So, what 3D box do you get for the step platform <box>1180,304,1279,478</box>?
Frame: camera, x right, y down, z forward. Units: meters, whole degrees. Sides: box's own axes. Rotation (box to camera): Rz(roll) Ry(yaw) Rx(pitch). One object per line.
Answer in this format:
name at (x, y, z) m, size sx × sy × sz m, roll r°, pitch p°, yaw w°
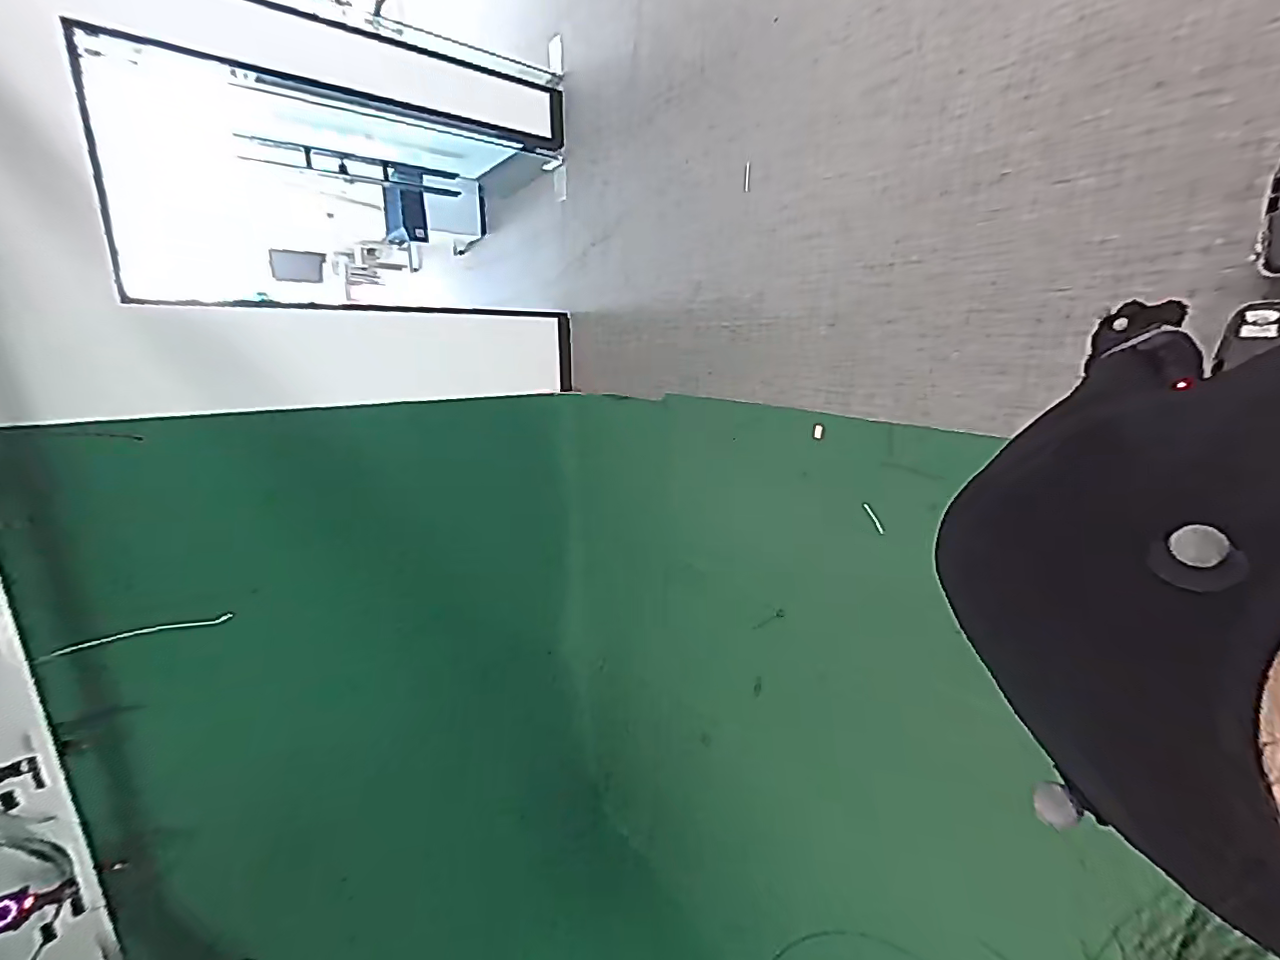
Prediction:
step platform at (1.238, -0.105, 0.740) m, size 0.684 × 0.204 × 0.286 m, roll 17°, pitch 111°, yaw 50°
